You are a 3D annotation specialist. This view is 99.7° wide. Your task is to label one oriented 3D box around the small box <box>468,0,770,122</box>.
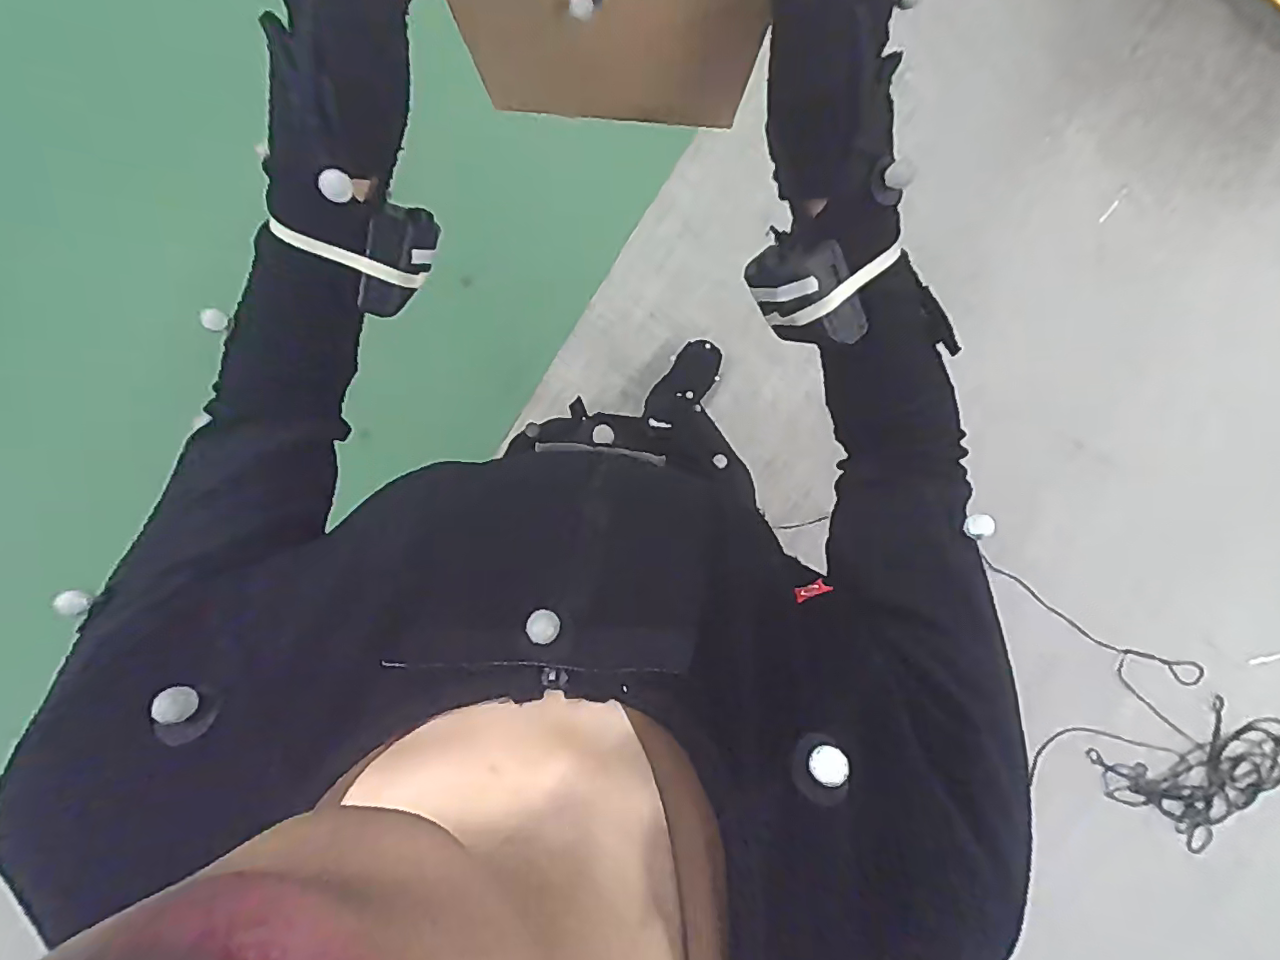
[{"bbox_3d":[-0.010,-0.334,0.306,0.179,0.176,0.168,3,98,-2],"label":"small box"}]
